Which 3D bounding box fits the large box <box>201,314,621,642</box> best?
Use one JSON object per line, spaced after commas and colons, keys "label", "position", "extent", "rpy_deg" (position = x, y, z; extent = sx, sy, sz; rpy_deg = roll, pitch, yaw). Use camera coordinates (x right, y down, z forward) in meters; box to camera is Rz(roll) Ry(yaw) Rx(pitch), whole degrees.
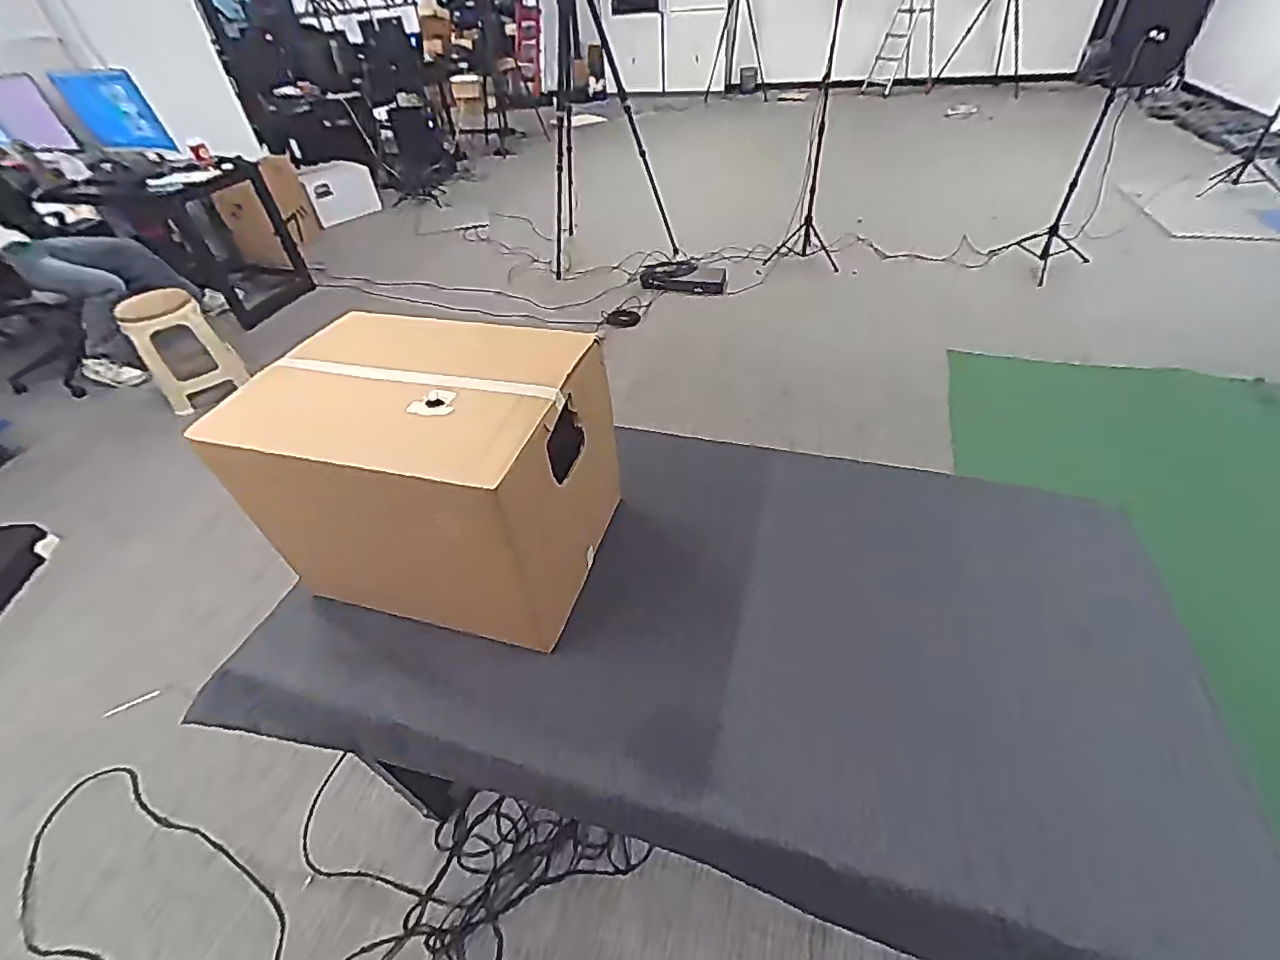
{"label": "large box", "position": [-0.267, -0.013, 0.776], "extent": [0.408, 0.320, 0.320], "rpy_deg": [9, 45, 13]}
